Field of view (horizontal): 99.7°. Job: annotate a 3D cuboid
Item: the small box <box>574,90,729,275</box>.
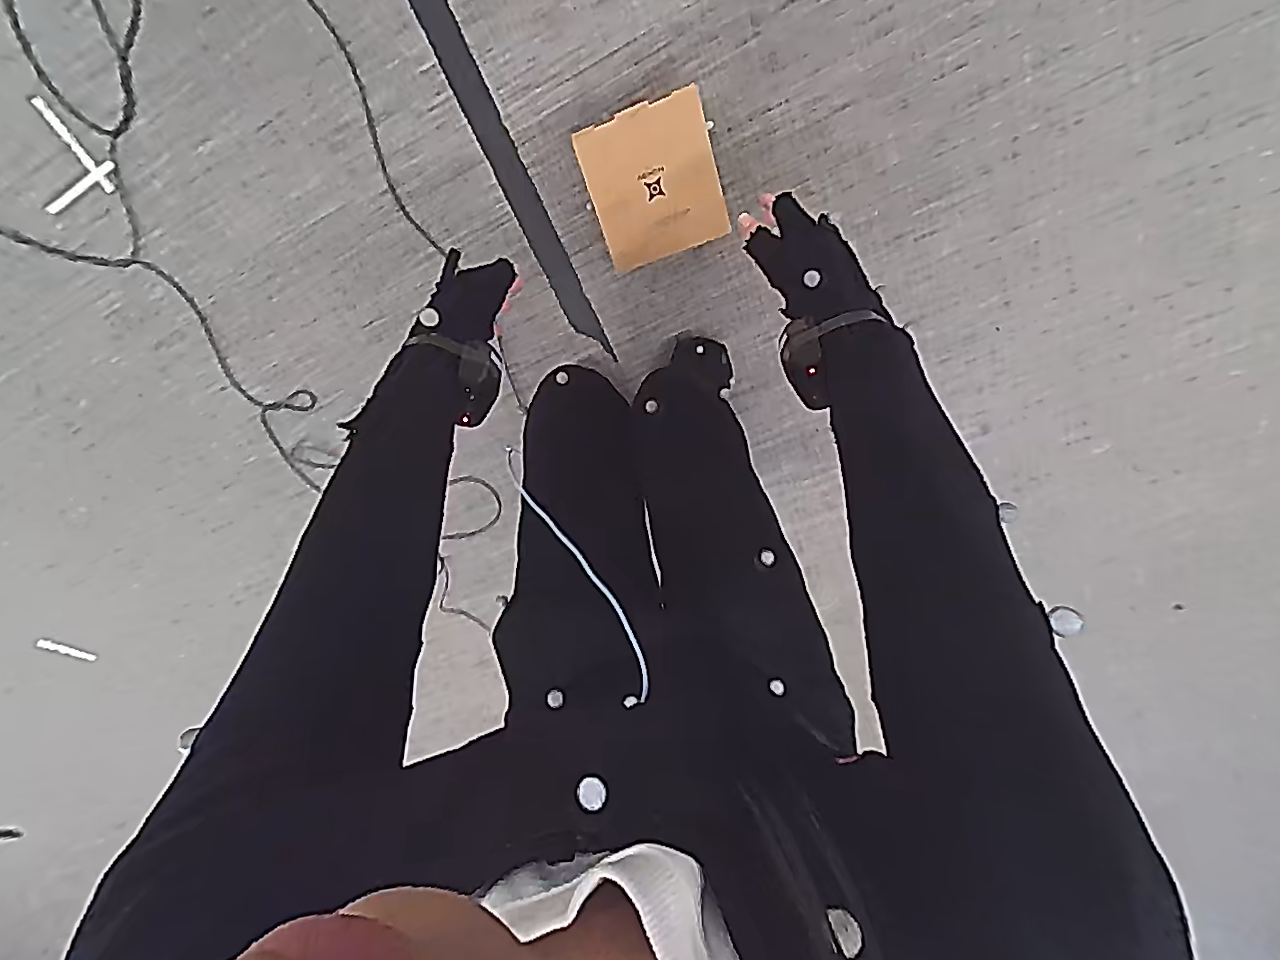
[{"bbox_3d":[0.020,-0.417,0.775,0.168,0.176,0.179,-16,117,11],"label":"small box"}]
